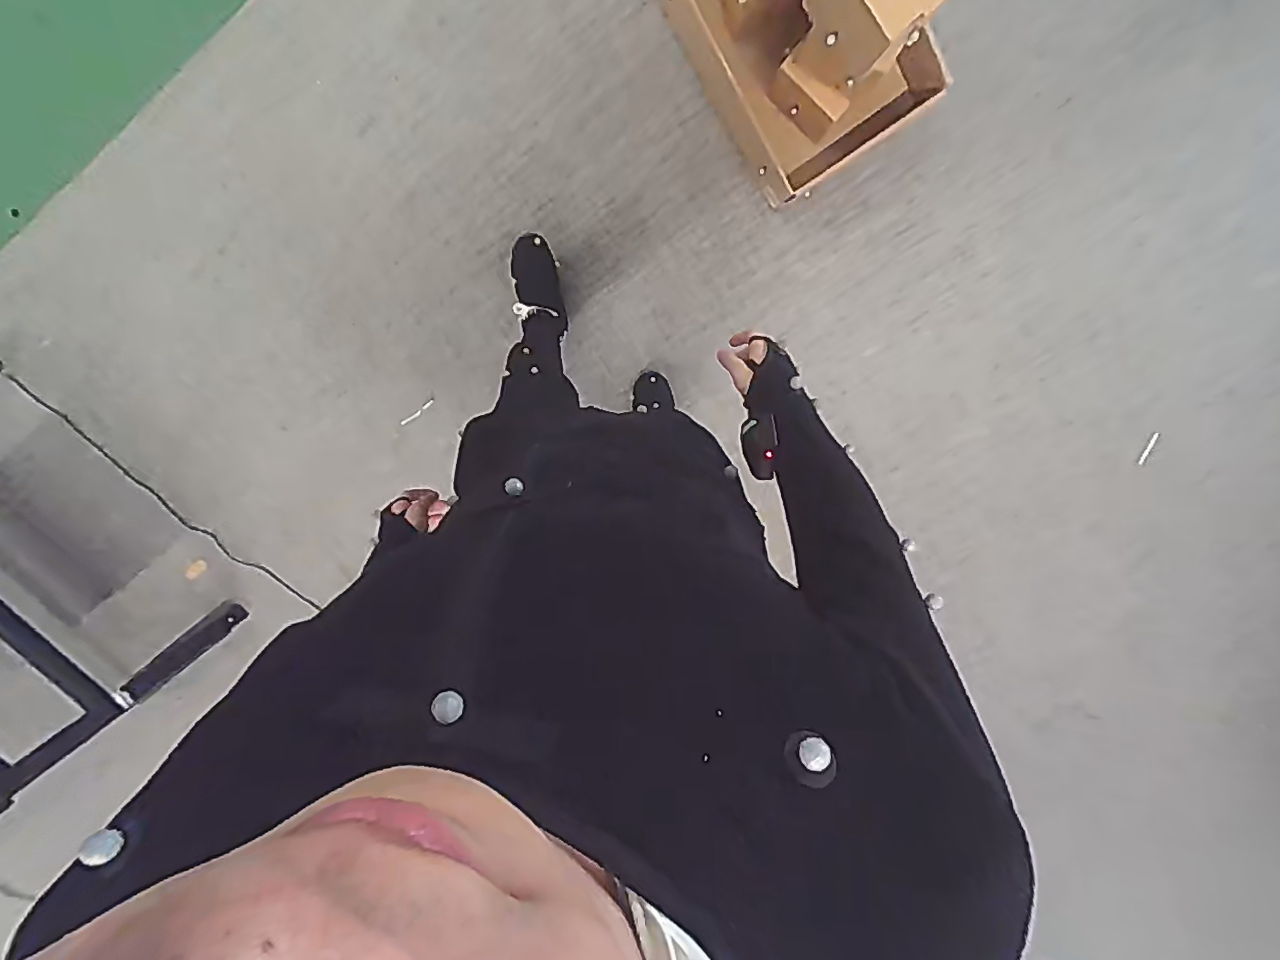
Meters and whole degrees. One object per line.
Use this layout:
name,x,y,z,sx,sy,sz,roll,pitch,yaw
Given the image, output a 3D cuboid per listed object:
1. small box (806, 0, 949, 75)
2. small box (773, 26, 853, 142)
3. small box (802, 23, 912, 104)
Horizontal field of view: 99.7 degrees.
small box,0.407,-0.819,0.894,0.168,0.176,0.179,-39,103,12
small box,0.419,-0.903,1.209,0.168,0.176,0.179,40,104,-9
small box,0.435,-0.880,1.046,0.168,0.176,0.179,29,105,-7
